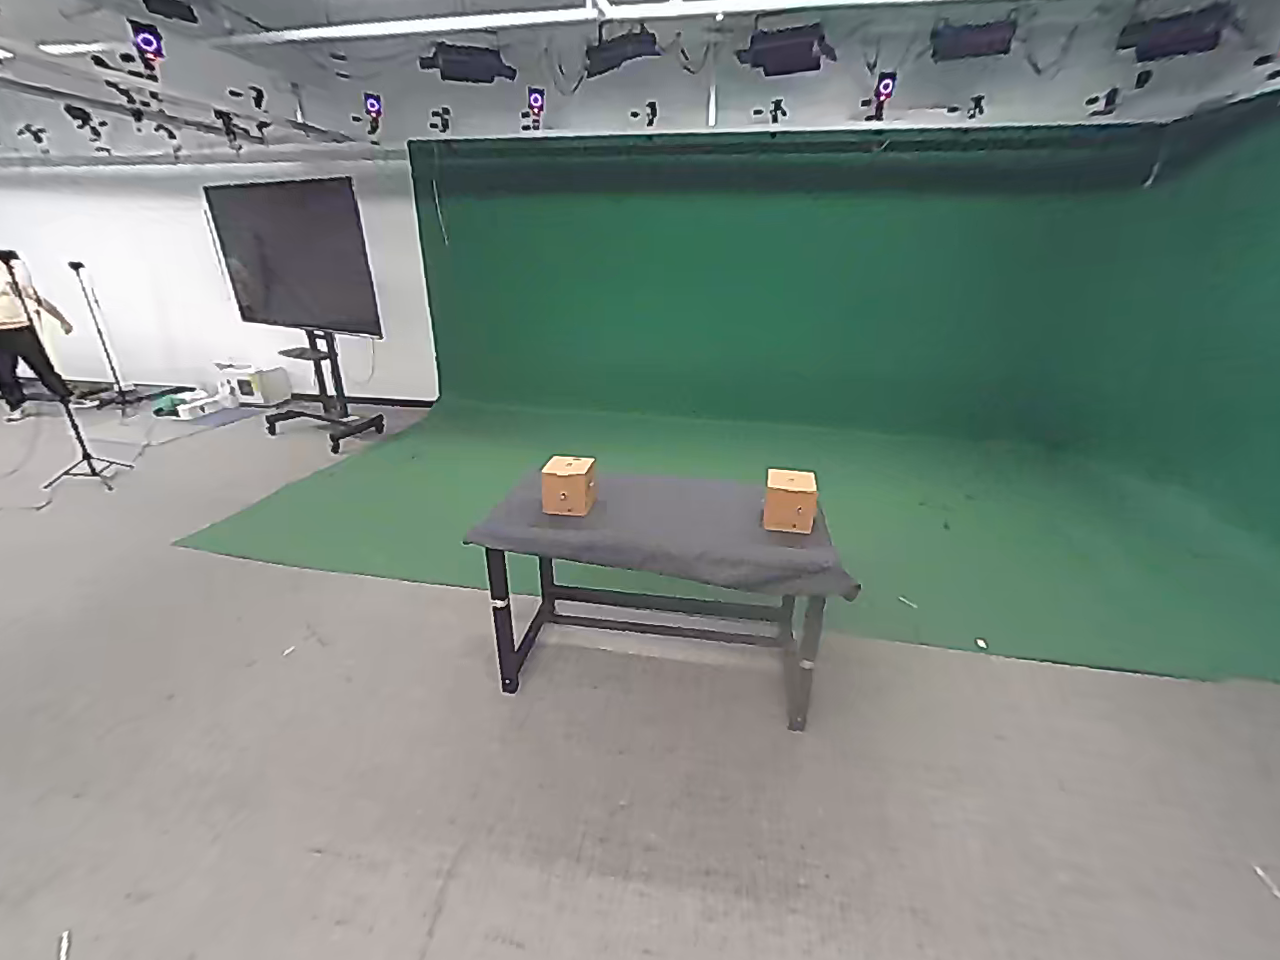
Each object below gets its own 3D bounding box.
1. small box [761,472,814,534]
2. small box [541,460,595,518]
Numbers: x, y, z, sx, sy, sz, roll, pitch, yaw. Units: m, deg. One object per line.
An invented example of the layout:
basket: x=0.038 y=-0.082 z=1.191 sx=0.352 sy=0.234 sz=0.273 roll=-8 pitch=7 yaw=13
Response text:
small box: x=0.532 y=0.083 z=1.954 sx=0.168 sy=0.176 sz=0.179 roll=6 pitch=22 yaw=11
small box: x=-0.268 y=0.033 z=2.060 sx=0.168 sy=0.176 sz=0.179 roll=4 pitch=23 yaw=7
